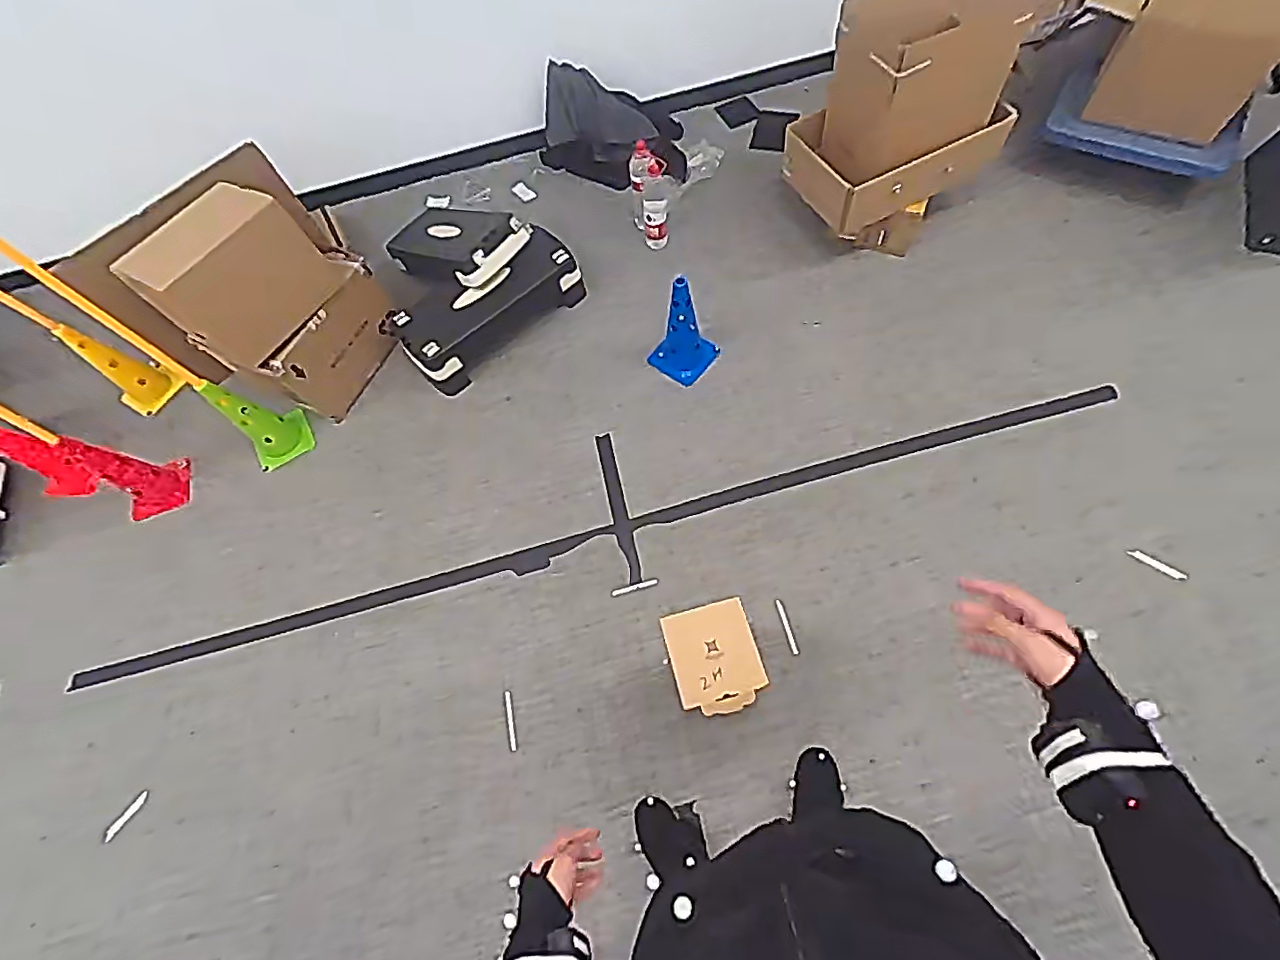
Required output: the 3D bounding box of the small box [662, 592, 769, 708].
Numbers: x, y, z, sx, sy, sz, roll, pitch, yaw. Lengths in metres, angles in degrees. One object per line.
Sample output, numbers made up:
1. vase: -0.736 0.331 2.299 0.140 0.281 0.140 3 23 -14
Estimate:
1. small box: 0.146 0.349 1.096 0.168 0.176 0.179 -16 65 -1
